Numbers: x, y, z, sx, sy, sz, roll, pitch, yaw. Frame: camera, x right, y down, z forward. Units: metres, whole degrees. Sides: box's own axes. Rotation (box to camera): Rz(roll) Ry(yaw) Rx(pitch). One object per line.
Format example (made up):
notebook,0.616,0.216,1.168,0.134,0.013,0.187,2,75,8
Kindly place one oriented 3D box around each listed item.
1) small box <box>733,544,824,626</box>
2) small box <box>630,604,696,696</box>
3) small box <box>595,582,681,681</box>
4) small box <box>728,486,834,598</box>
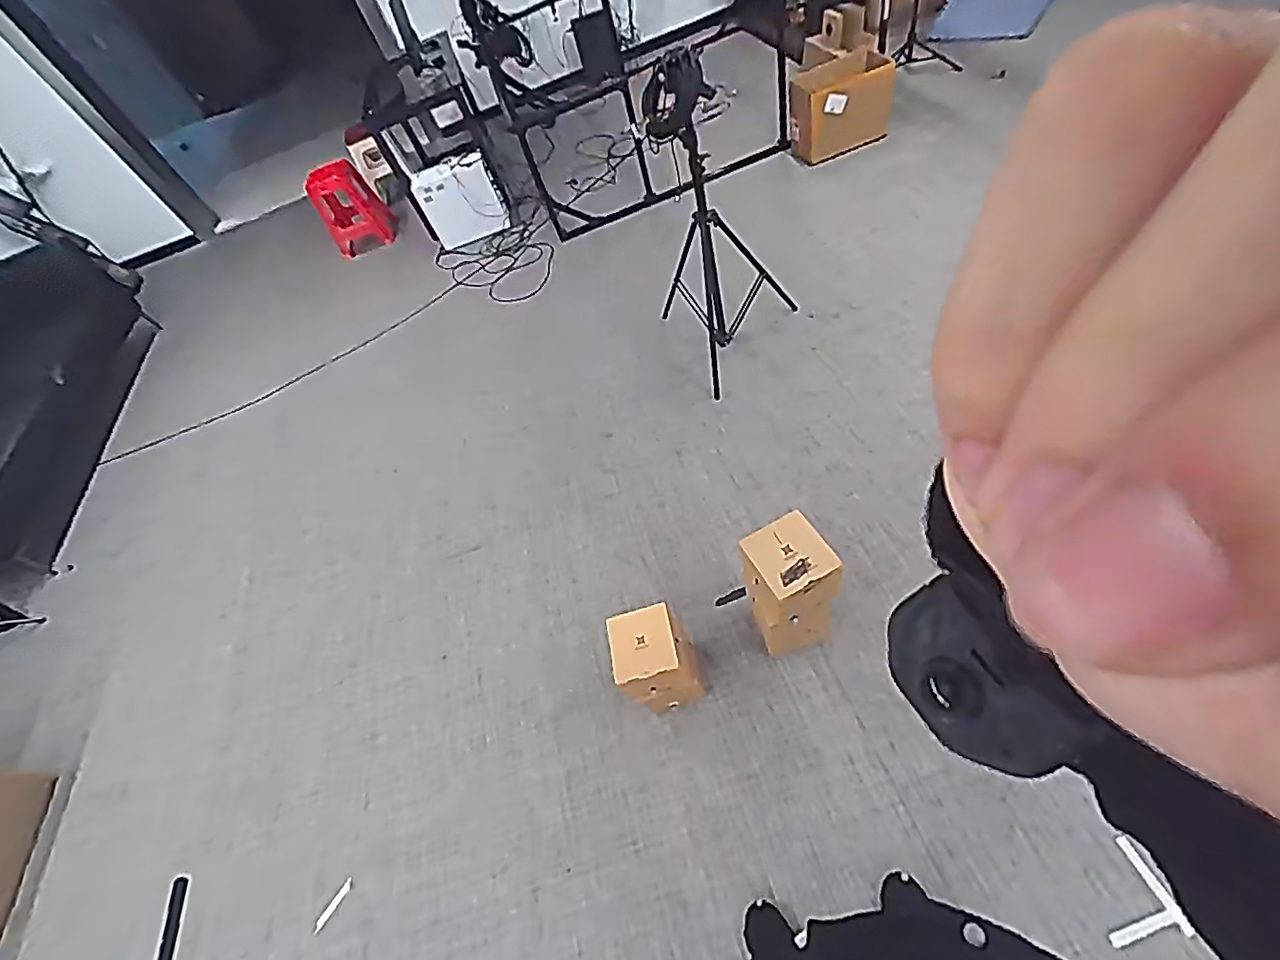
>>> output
small box,0.351,0.244,1.383,0.168,0.176,0.179,-23,52,1
small box,0.047,0.481,1.517,0.168,0.176,0.179,-20,52,3
small box,-0.004,0.392,1.391,0.168,0.176,0.179,-18,54,6
small box,0.325,0.152,1.247,0.168,0.176,0.179,-28,53,-4
